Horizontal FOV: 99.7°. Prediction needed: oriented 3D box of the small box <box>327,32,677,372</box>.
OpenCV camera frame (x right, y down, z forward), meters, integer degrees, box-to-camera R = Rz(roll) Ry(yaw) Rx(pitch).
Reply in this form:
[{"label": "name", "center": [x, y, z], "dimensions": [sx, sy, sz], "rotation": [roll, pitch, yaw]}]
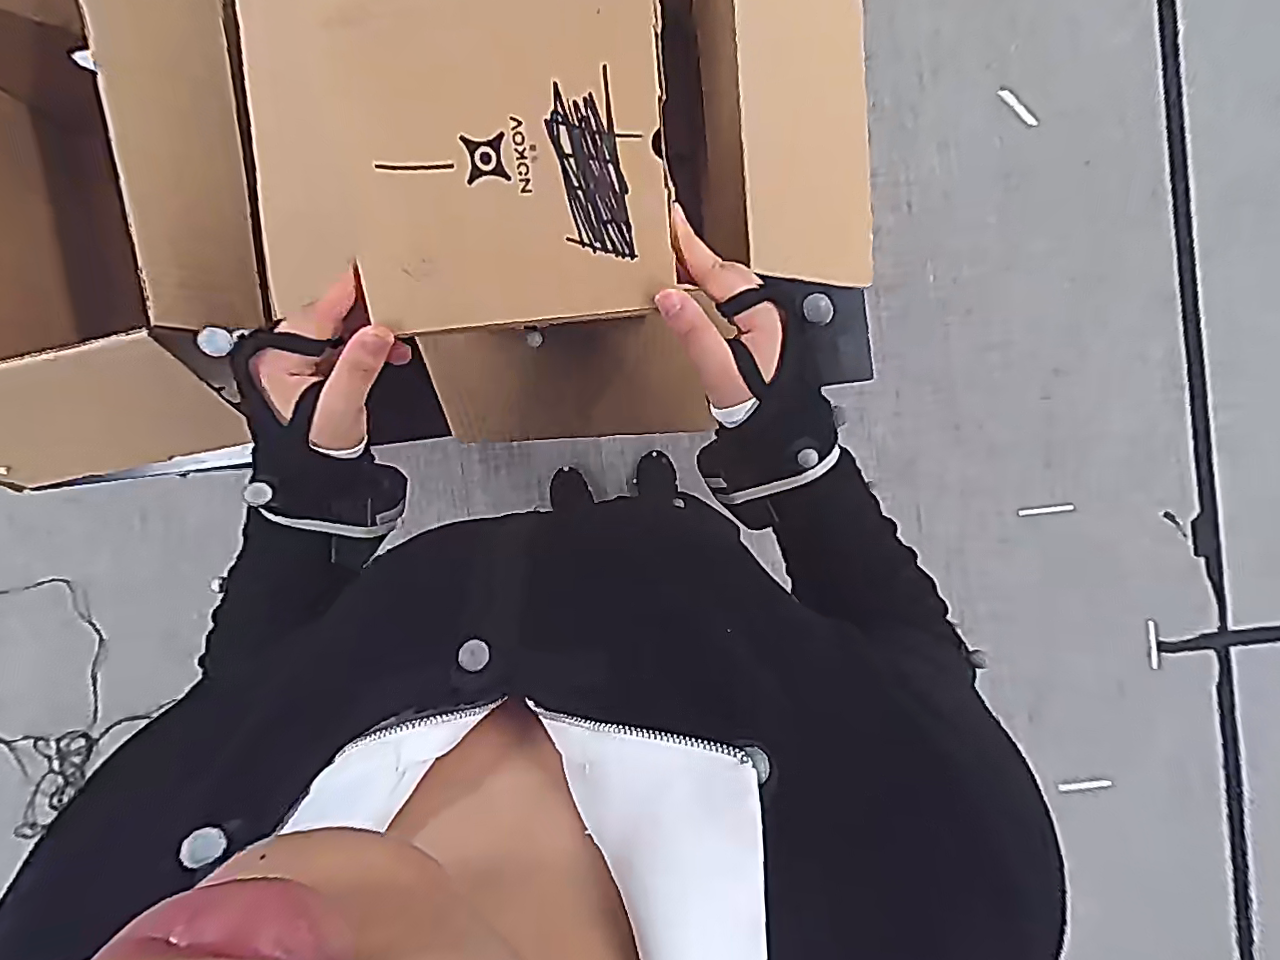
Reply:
[{"label": "small box", "center": [-0.074, -0.173, 0.380], "dimensions": [0.179, 0.176, 0.168], "rotation": [-5, 107, 0]}]
